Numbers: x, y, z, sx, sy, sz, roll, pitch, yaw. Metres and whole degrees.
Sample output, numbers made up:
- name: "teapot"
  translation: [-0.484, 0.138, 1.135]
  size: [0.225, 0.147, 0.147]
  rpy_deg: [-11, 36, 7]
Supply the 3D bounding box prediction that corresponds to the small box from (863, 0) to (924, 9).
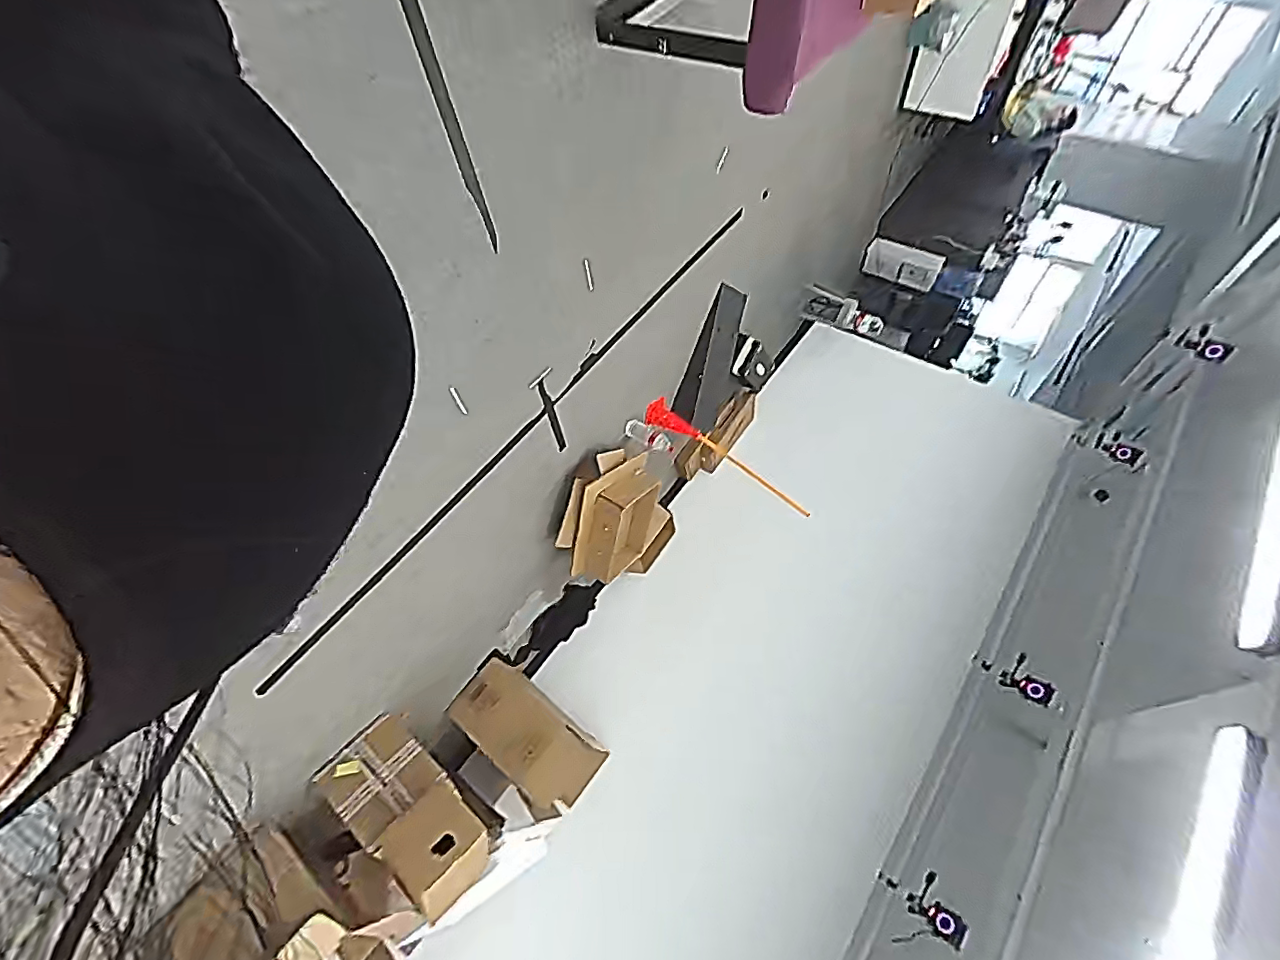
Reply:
- name: "small box"
  translation: [0.772, -1.511, 1.566]
  size: [0.168, 0.176, 0.179]
  rpy_deg: [-49, 156, -23]
